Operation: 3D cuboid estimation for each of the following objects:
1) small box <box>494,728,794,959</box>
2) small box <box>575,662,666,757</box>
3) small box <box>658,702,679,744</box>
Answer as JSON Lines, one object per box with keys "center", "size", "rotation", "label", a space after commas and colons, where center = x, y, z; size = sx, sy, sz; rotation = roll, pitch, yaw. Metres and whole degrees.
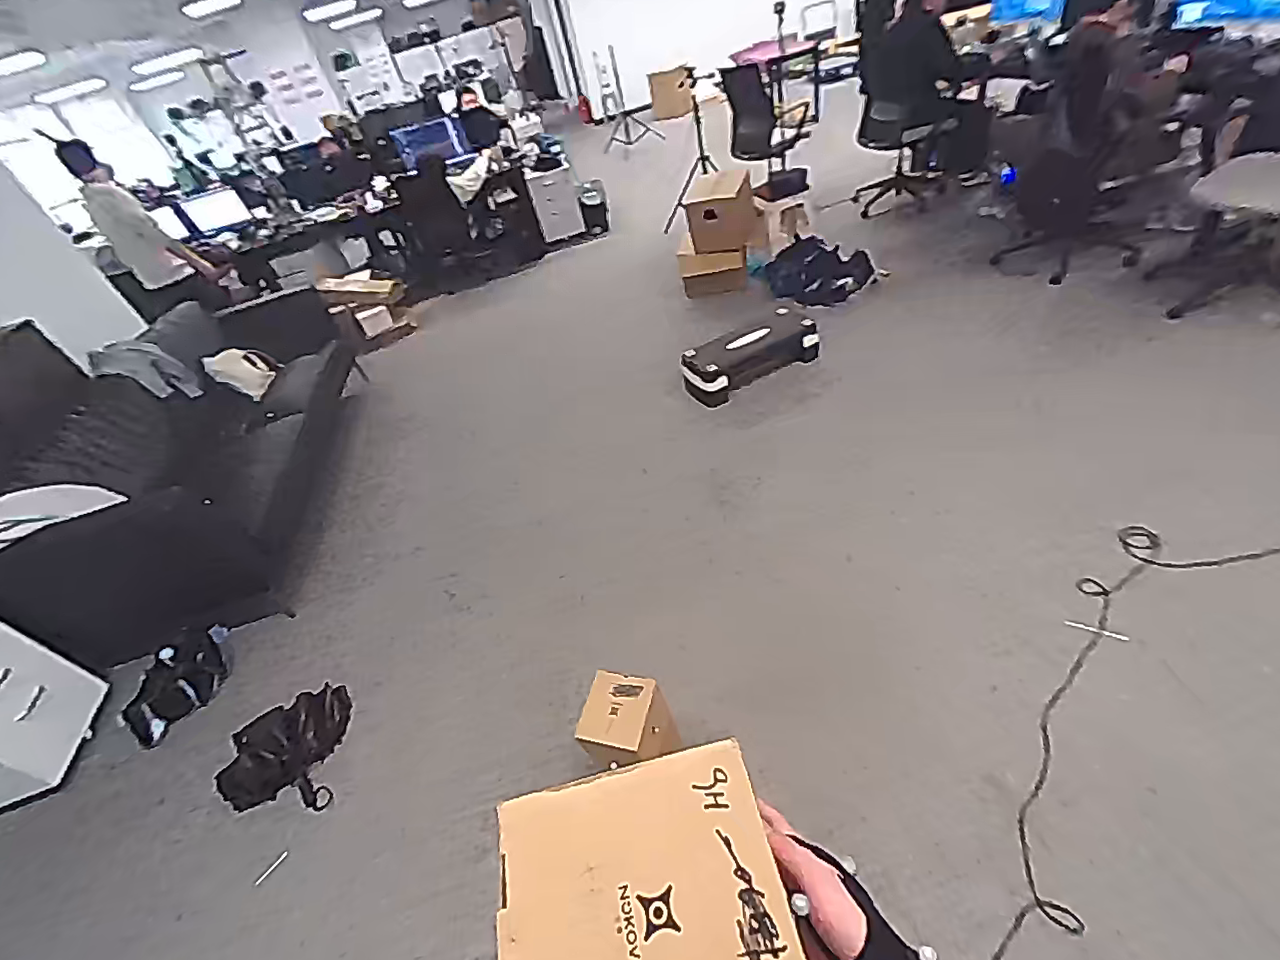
{"center": [0.007, 0.307, 0.402], "size": [0.179, 0.176, 0.168], "rotation": [-14, 54, -1], "label": "small box"}
{"center": [-0.040, 0.594, 1.373], "size": [0.168, 0.176, 0.179], "rotation": [2, 47, 23], "label": "small box"}
{"center": [-0.013, 0.696, 1.502], "size": [0.179, 0.176, 0.168], "rotation": [14, 51, 30], "label": "small box"}
